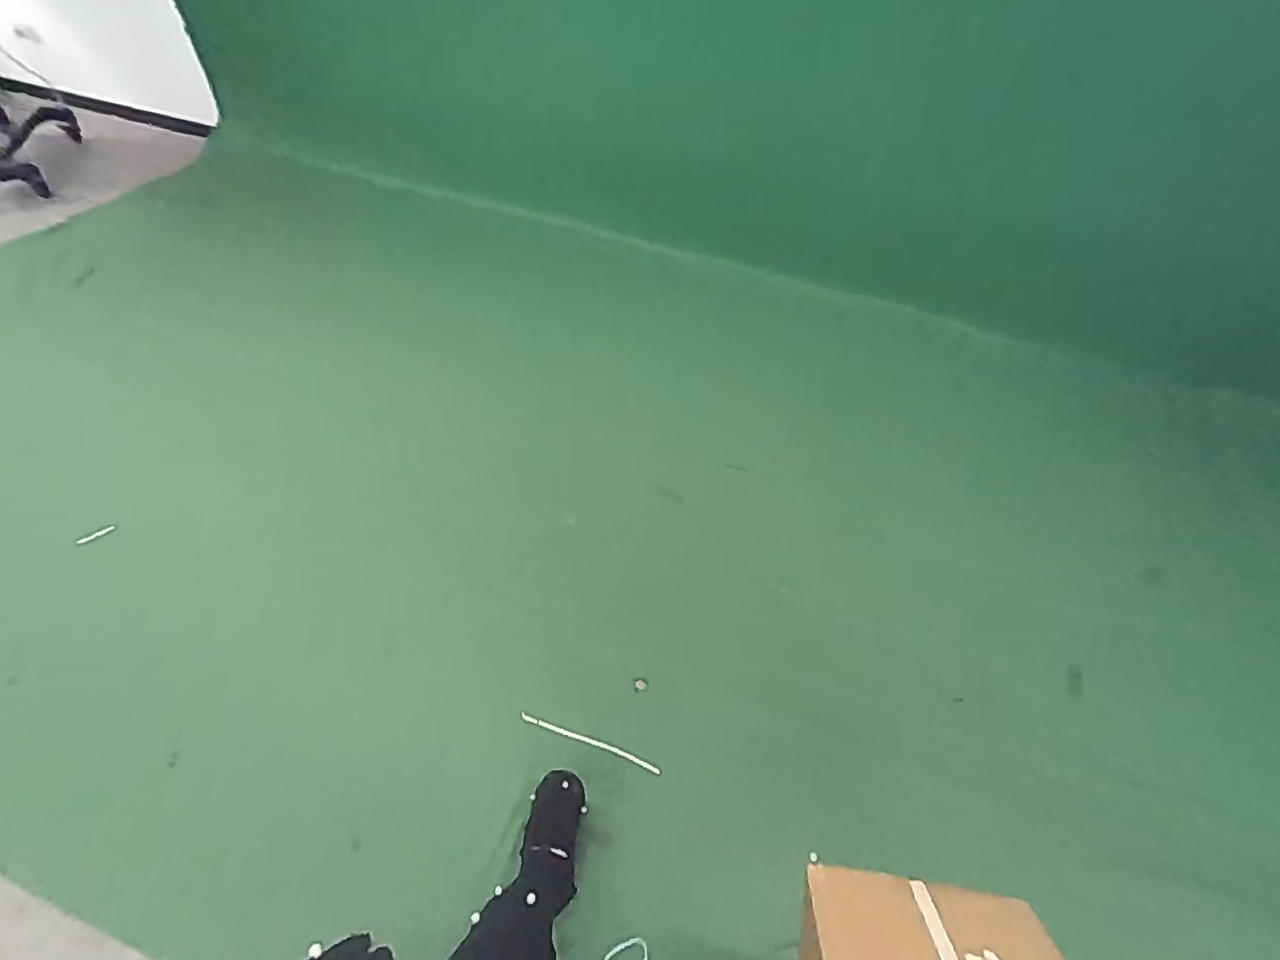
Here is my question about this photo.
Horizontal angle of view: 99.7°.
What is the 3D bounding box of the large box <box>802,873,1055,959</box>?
[{"bbox_3d":[0.367,0.774,0.621,0.320,0.408,0.320,6,94,9],"label":"large box"}]
